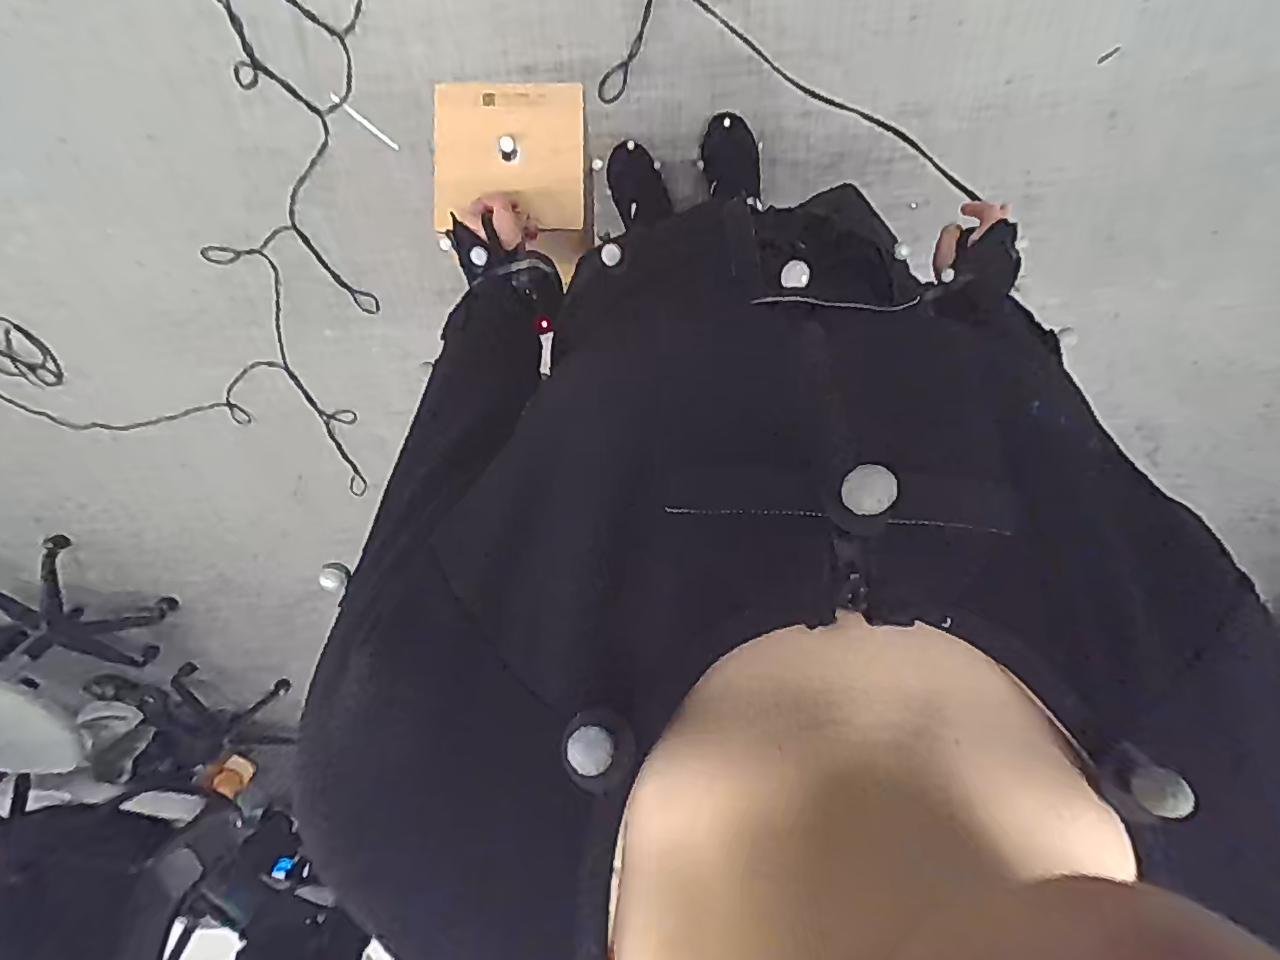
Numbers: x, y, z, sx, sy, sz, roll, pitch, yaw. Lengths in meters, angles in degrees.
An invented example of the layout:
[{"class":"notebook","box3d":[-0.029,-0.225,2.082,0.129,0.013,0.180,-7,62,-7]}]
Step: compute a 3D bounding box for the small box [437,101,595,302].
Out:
[{"class":"small box","box3d":[-0.147,-0.343,0.683,0.168,0.179,0.176,-3,87,-1]}]
